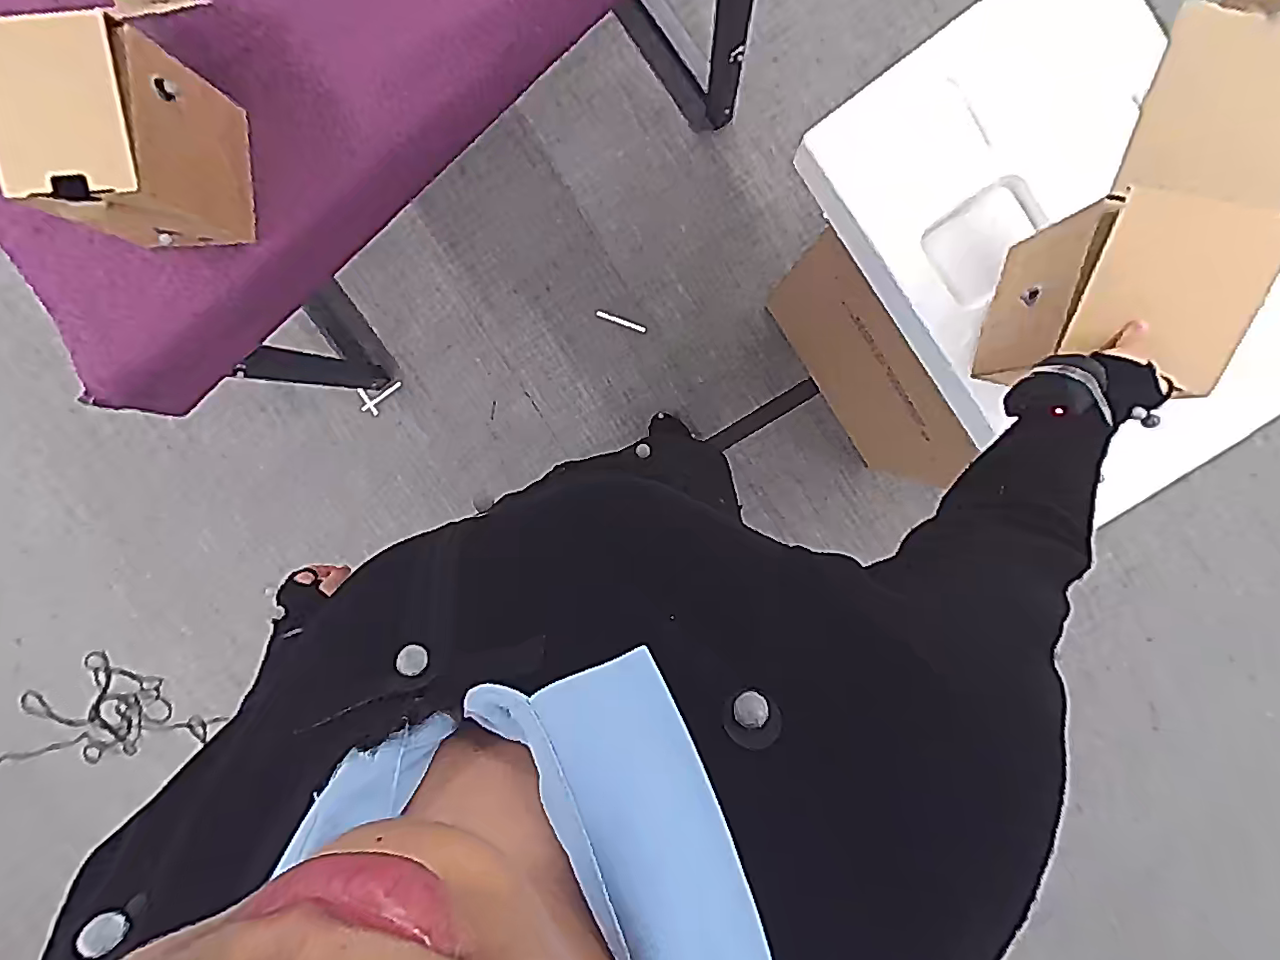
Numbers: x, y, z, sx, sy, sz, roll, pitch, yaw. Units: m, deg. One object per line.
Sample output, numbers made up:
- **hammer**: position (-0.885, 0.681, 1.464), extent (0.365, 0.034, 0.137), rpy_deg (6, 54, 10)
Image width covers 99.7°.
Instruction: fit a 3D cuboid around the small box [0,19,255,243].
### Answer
- **small box**: position (-0.616, -0.412, 0.666), extent (0.168, 0.176, 0.179), rpy_deg (0, 95, 5)
